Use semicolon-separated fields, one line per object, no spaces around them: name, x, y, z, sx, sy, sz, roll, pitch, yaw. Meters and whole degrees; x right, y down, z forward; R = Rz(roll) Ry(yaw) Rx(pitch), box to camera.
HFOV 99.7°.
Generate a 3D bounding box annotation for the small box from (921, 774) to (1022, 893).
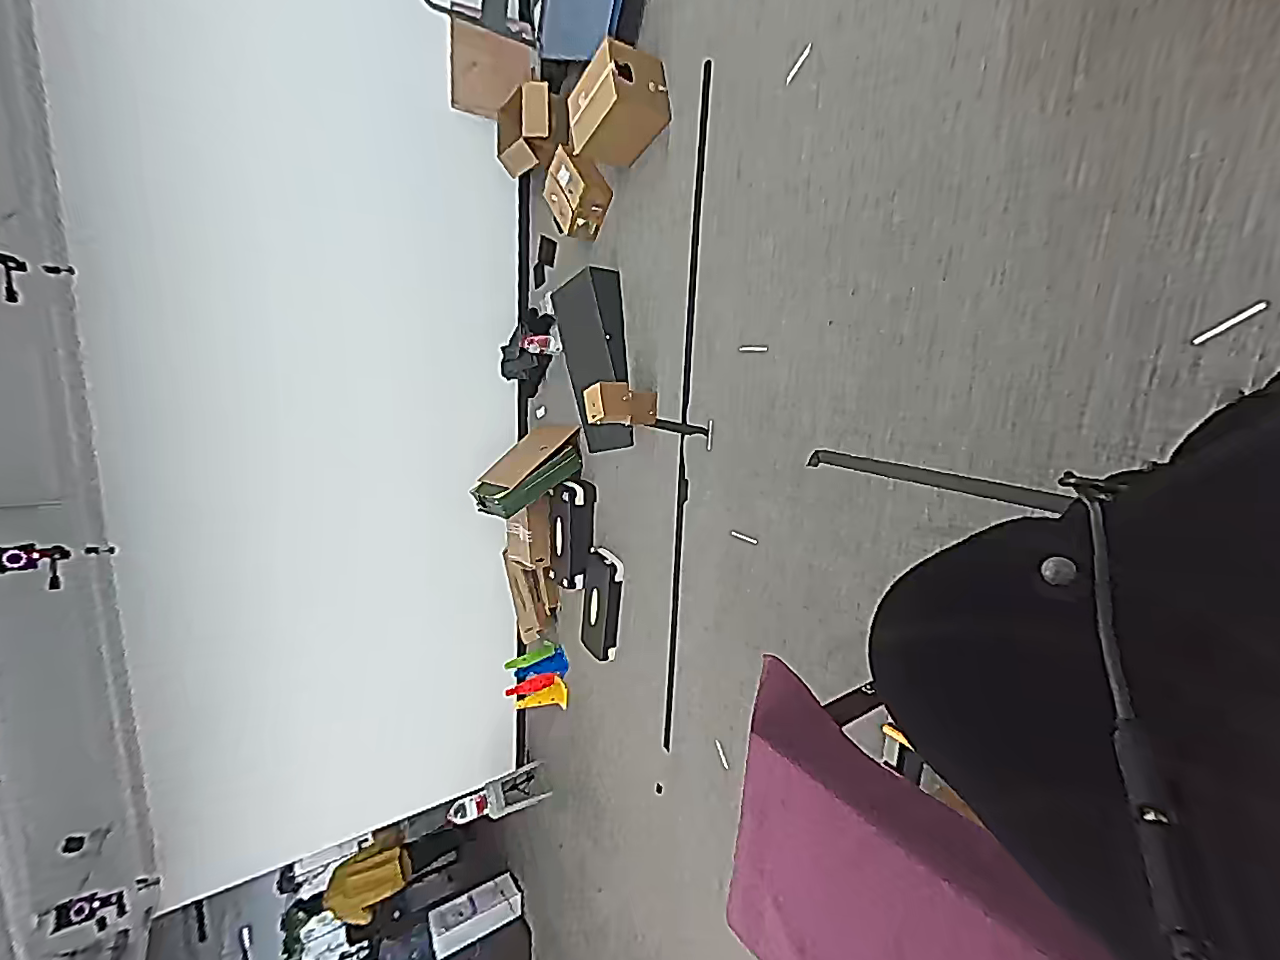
small box;0.891;0.936;1.452;0.168;0.176;0.179;21;112;53
